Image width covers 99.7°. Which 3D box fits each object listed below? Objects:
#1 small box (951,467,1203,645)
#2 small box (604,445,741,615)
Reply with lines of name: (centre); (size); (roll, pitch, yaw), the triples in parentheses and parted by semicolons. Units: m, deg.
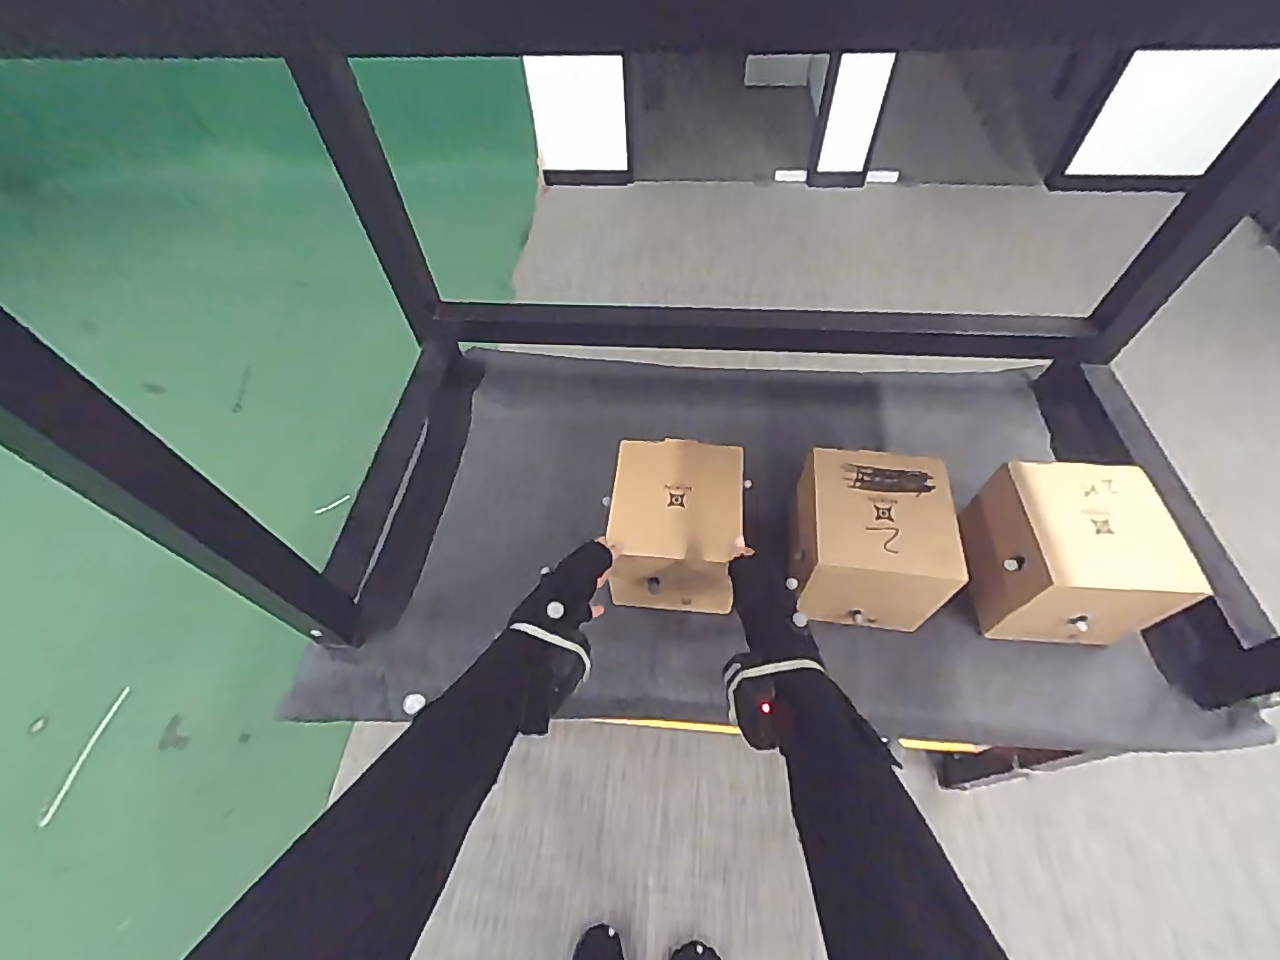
small box: (0.541, 0.103, 0.705); (0.168, 0.176, 0.179); (2, 54, 4)
small box: (0.050, 0.074, 0.749); (0.168, 0.176, 0.179); (4, 55, 5)
